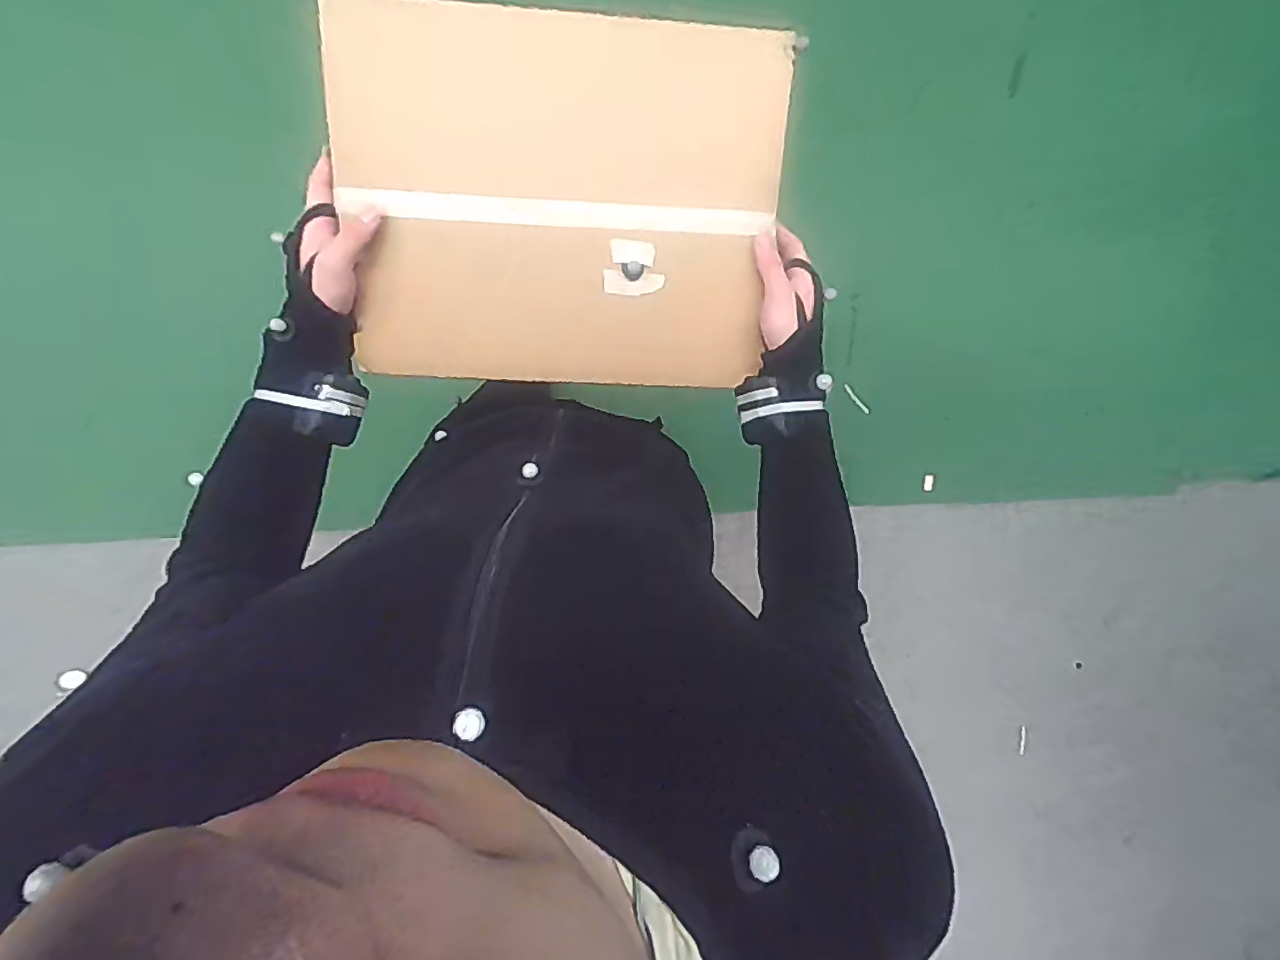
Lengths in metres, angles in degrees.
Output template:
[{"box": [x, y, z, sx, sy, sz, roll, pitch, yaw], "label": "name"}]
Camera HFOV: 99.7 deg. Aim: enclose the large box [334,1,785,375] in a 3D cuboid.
[{"box": [-0.082, -0.301, 0.659, 0.408, 0.320, 0.320, 1, 107, -5], "label": "large box"}]
